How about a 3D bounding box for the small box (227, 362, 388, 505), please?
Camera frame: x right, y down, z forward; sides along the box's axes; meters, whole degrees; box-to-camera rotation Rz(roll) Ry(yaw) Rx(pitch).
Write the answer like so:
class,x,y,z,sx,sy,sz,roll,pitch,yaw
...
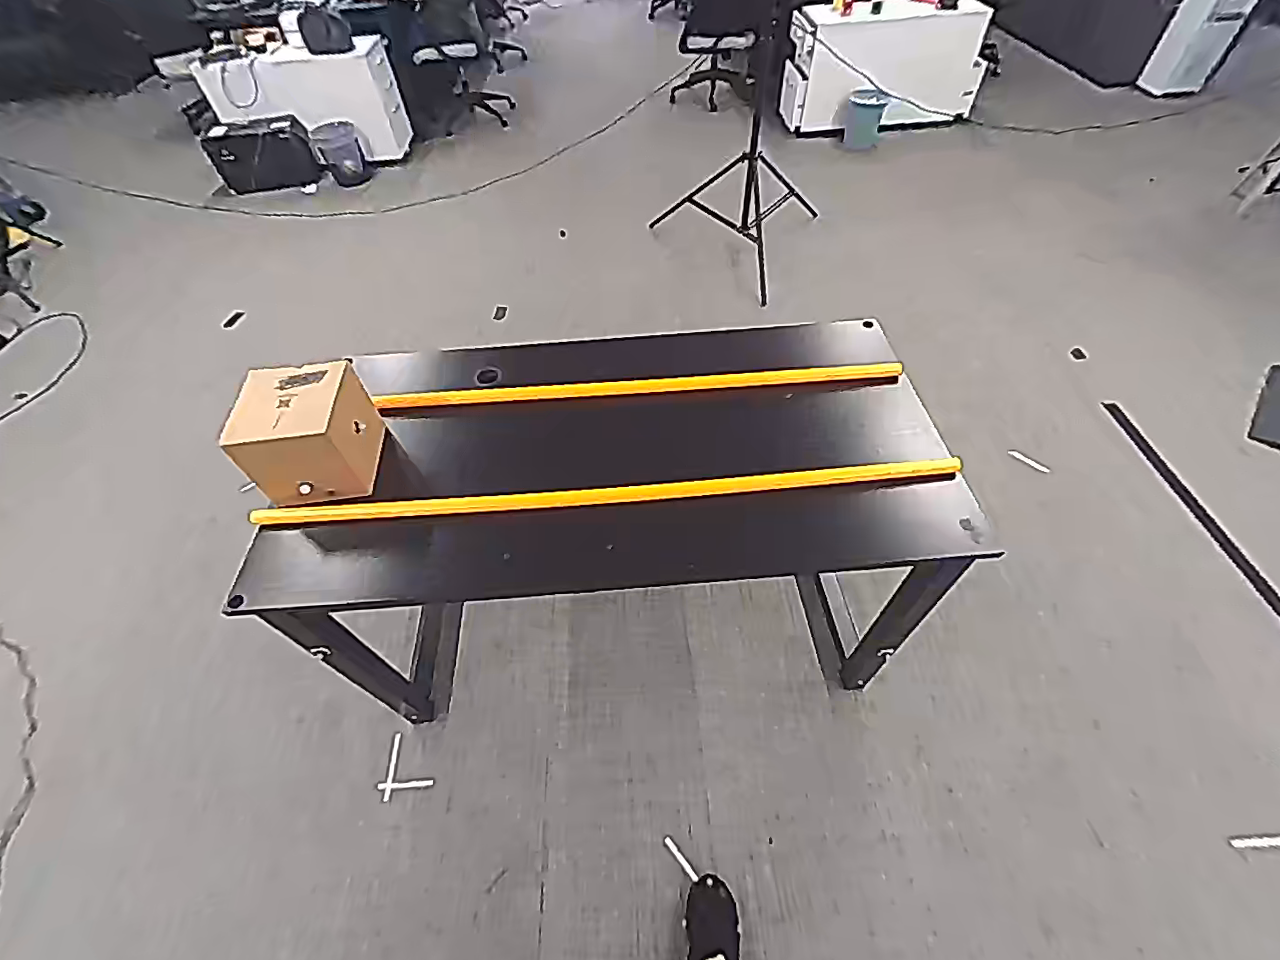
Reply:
class,x,y,z,sx,sy,sz,roll,pitch,yaw
small box,-0.564,-0.080,0.949,0.168,0.176,0.179,-8,53,-3
